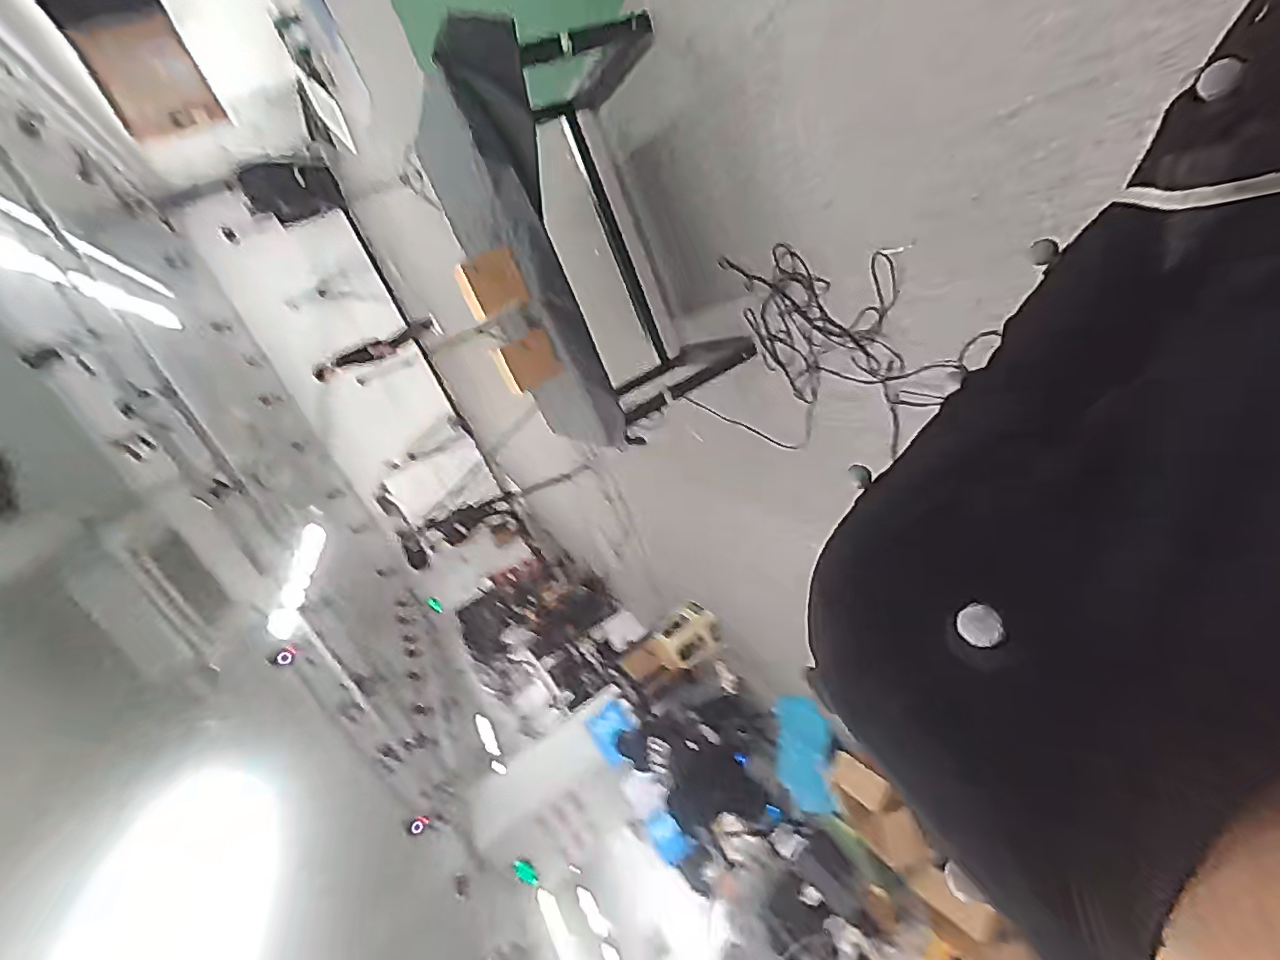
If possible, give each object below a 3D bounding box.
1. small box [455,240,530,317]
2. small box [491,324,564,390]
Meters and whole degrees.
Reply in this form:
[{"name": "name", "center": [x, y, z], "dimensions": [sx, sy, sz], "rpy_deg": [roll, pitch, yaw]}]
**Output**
[{"name": "small box", "center": [-0.486, -0.663, 1.785], "dimensions": [0.168, 0.176, 0.179], "rpy_deg": [17, 133, 63]}, {"name": "small box", "center": [-0.394, -0.433, 1.894], "dimensions": [0.179, 0.176, 0.168], "rpy_deg": [64, 161, -17]}]
